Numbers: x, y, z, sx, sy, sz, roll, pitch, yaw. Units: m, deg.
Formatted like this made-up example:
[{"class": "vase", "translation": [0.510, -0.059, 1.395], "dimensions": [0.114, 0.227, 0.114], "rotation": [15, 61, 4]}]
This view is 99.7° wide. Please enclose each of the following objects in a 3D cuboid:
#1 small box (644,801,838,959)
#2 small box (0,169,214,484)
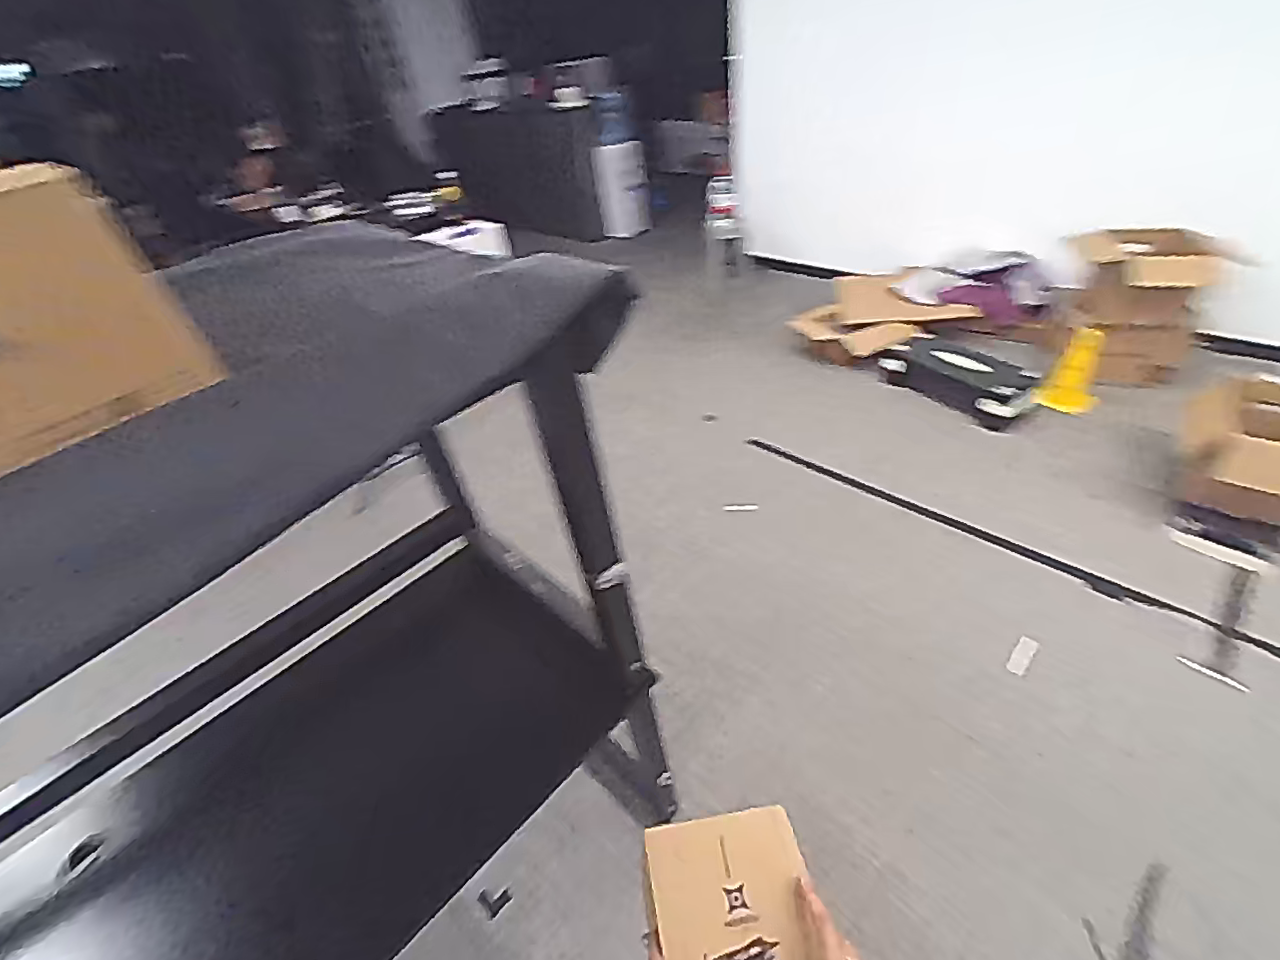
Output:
[{"class": "small box", "translation": [0.099, 0.489, 0.587], "dimensions": [0.168, 0.176, 0.179], "rotation": [-5, 36, -7]}, {"class": "small box", "translation": [-0.469, -0.113, 0.402], "dimensions": [0.179, 0.176, 0.168], "rotation": [25, 51, 35]}]
